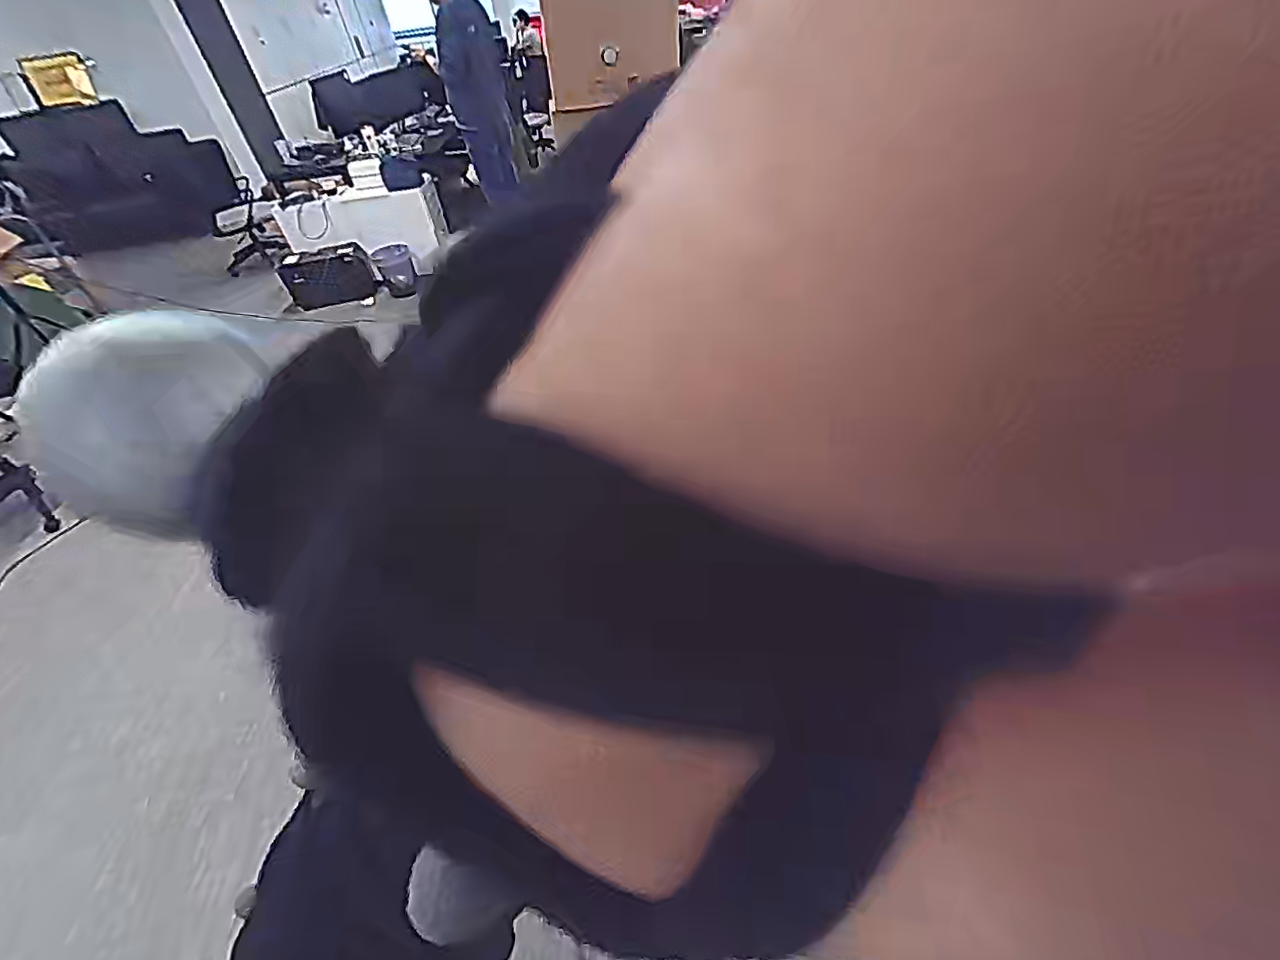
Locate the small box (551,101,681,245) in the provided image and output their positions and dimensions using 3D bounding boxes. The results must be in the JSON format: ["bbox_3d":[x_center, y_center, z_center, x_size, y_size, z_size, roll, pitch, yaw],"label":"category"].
[{"bbox_3d":[-0.035,-0.478,0.828,0.179,0.176,0.168,-10,39,-3],"label":"small box"}]

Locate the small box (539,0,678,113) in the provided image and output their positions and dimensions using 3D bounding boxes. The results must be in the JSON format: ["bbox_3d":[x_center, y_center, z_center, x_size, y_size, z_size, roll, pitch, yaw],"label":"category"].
[{"bbox_3d":[-0.046,-0.599,0.718,0.168,0.176,0.179,-9,40,-3],"label":"small box"}]
